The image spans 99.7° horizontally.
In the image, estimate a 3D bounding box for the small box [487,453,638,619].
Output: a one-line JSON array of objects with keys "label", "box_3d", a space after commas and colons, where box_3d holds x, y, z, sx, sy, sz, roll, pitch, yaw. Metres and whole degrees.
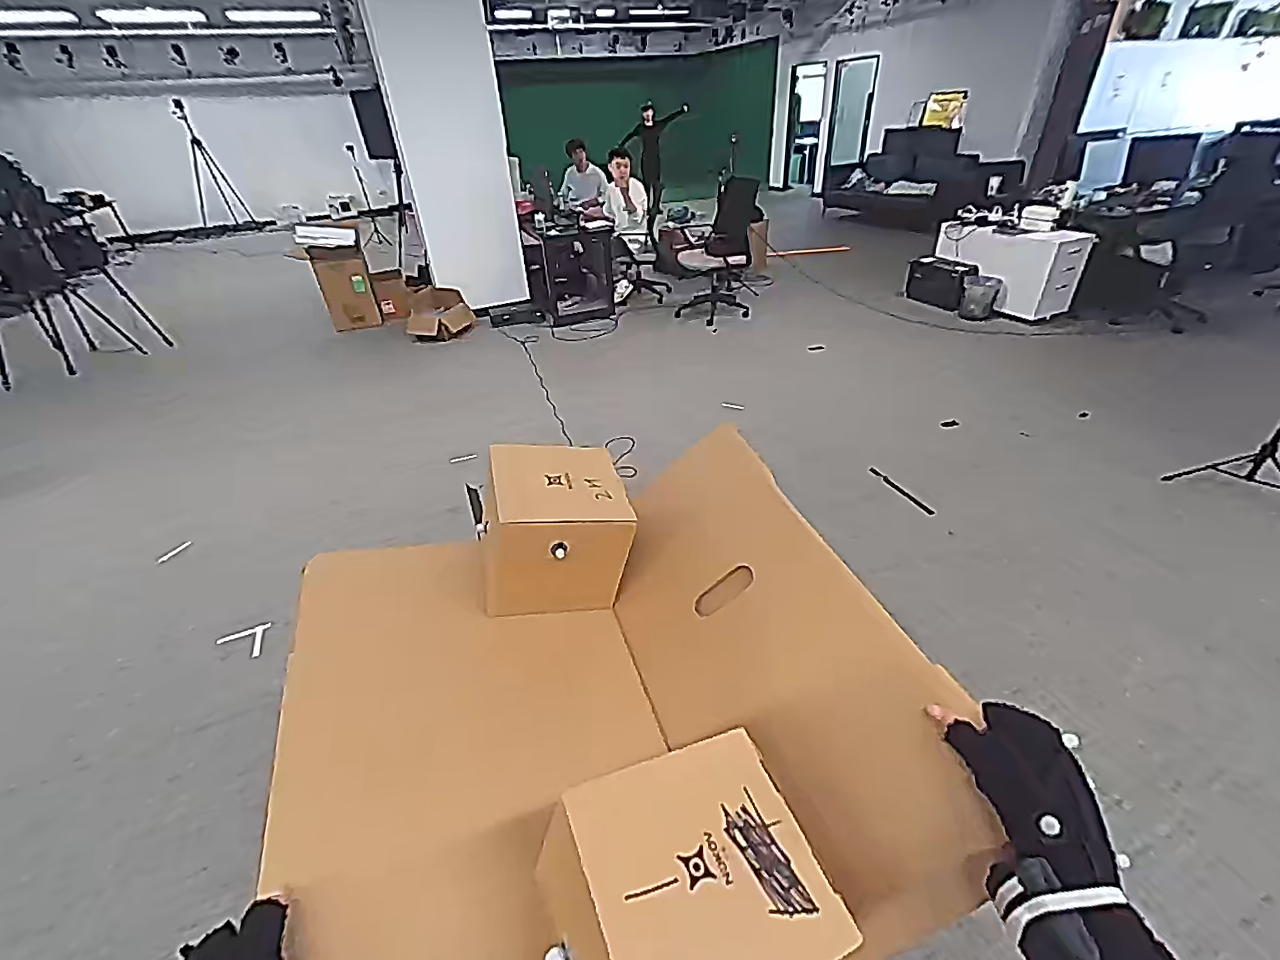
[{"label": "small box", "box_3d": [-0.121, 0.079, 0.761, 0.179, 0.176, 0.168, 2, 37, -21]}]
